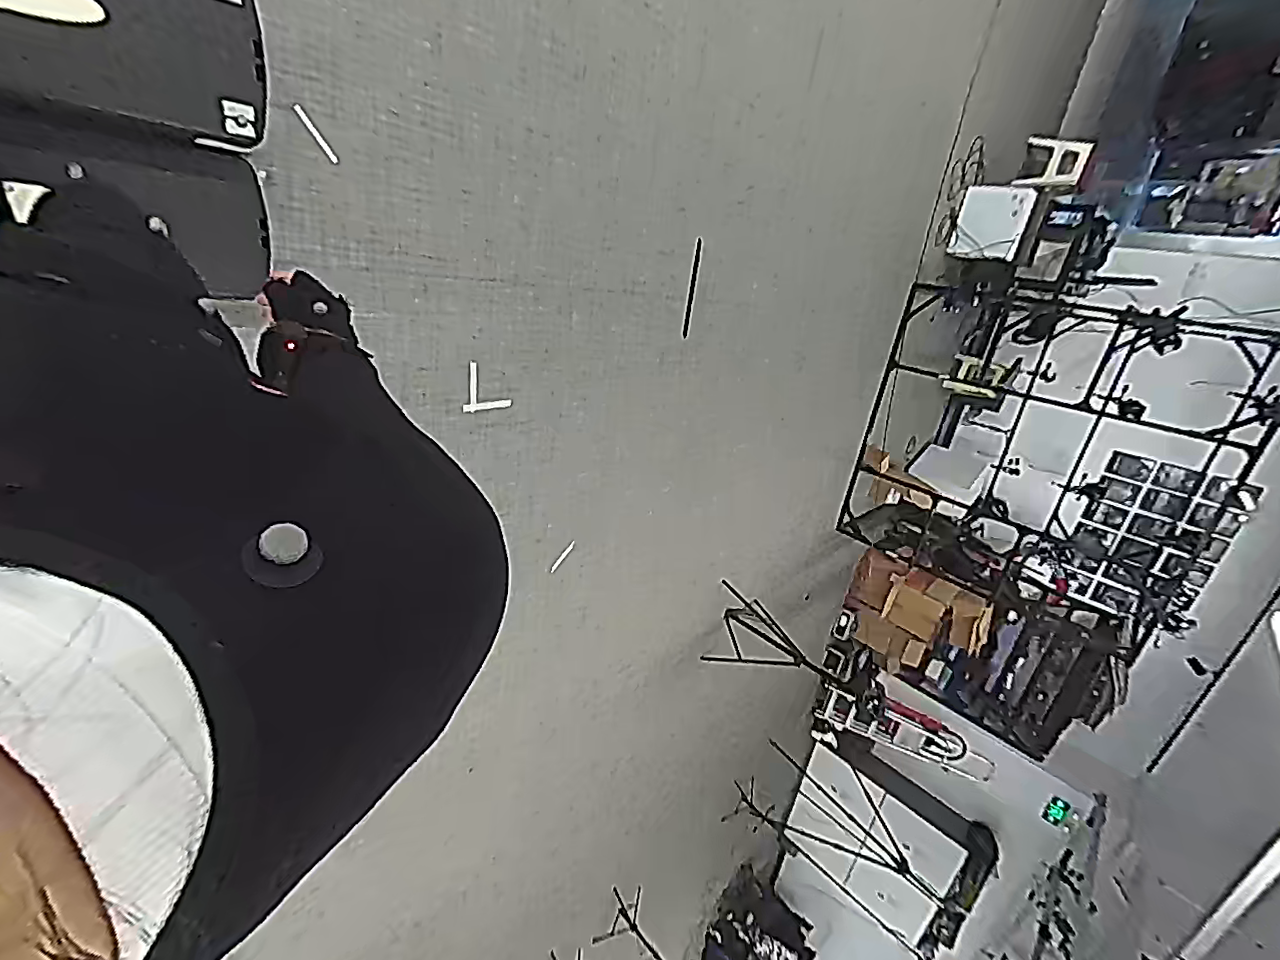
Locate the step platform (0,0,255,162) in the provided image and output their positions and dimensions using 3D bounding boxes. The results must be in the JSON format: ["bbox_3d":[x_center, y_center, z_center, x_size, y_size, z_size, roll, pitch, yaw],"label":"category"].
[{"bbox_3d":[-0.980,-0.693,0.787,0.684,0.204,0.286,-16,123,-45],"label":"step platform"}]
